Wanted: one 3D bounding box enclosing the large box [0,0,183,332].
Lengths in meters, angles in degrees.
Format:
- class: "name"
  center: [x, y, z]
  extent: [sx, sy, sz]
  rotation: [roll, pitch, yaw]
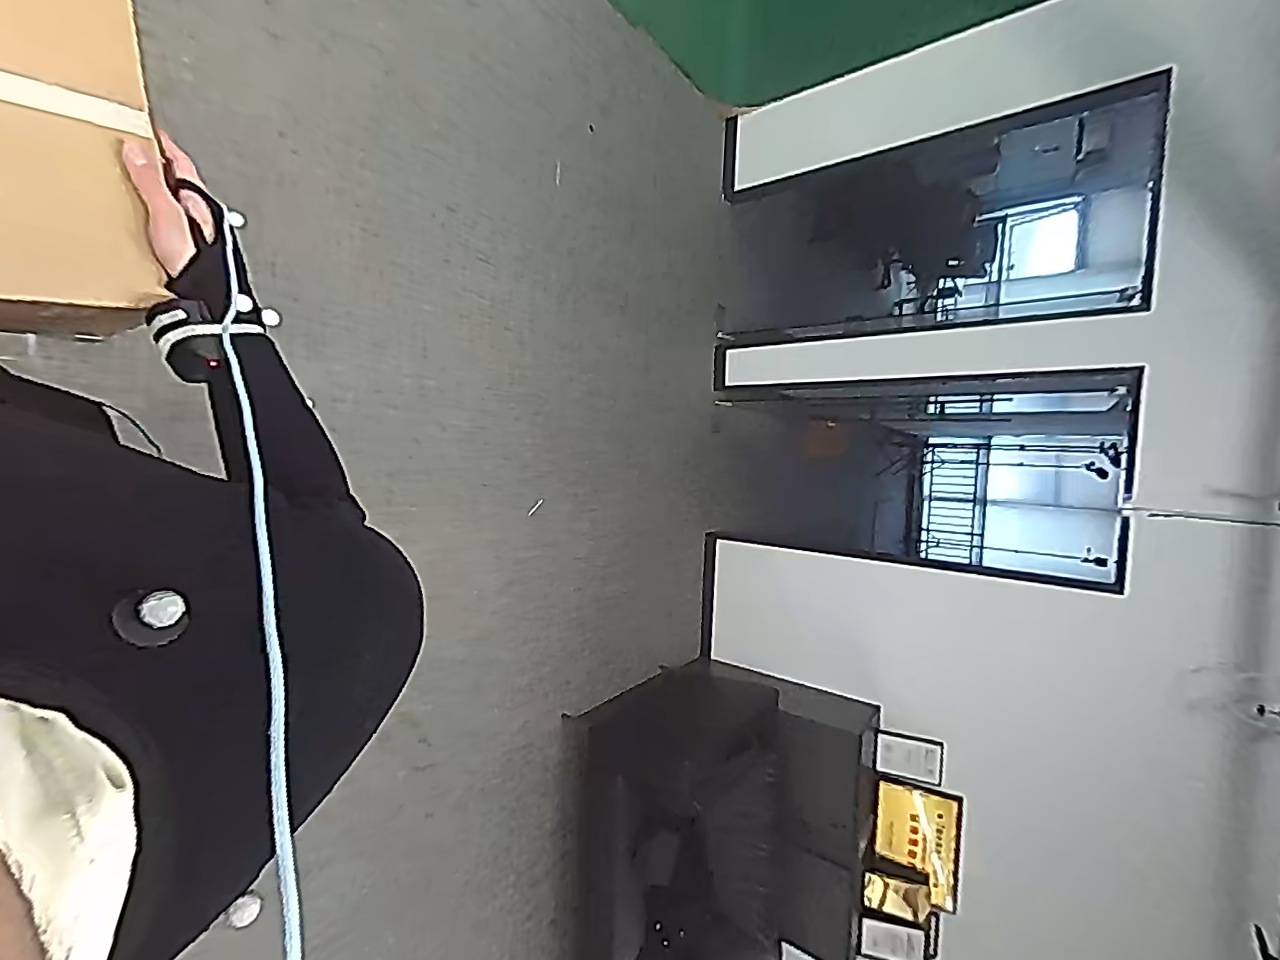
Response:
- class: "large box"
  center: [-0.682, -0.296, 0.427]
  extent: [0.408, 0.320, 0.320]
  rotation: [-15, 106, -51]
